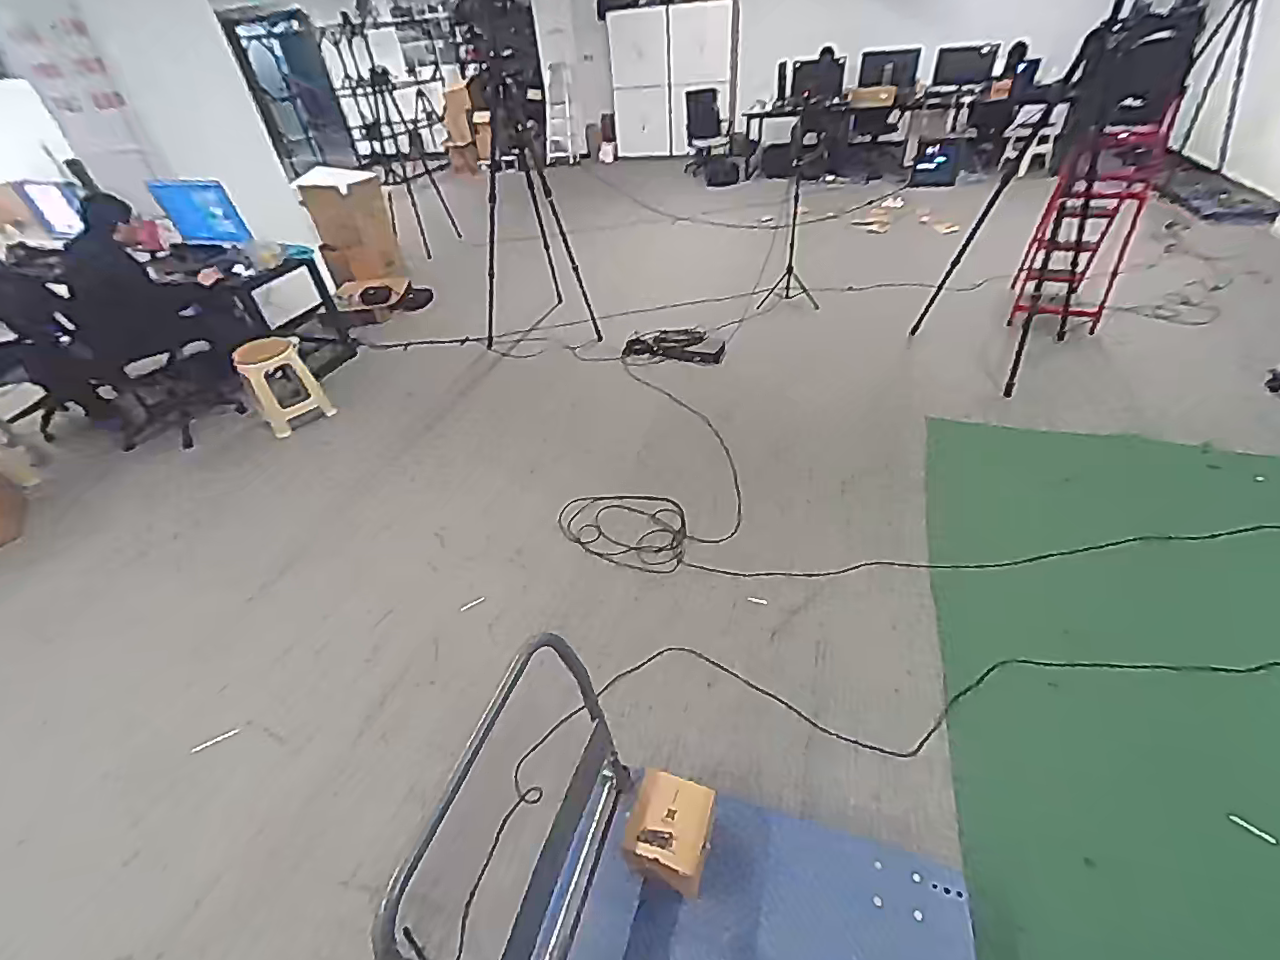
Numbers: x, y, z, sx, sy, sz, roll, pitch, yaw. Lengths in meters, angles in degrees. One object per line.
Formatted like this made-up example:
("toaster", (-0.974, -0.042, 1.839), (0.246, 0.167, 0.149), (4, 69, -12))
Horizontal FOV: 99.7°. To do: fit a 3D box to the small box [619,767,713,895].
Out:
("small box", (0.067, 0.798, 1.227), (0.168, 0.176, 0.179), (11, 42, 19))
